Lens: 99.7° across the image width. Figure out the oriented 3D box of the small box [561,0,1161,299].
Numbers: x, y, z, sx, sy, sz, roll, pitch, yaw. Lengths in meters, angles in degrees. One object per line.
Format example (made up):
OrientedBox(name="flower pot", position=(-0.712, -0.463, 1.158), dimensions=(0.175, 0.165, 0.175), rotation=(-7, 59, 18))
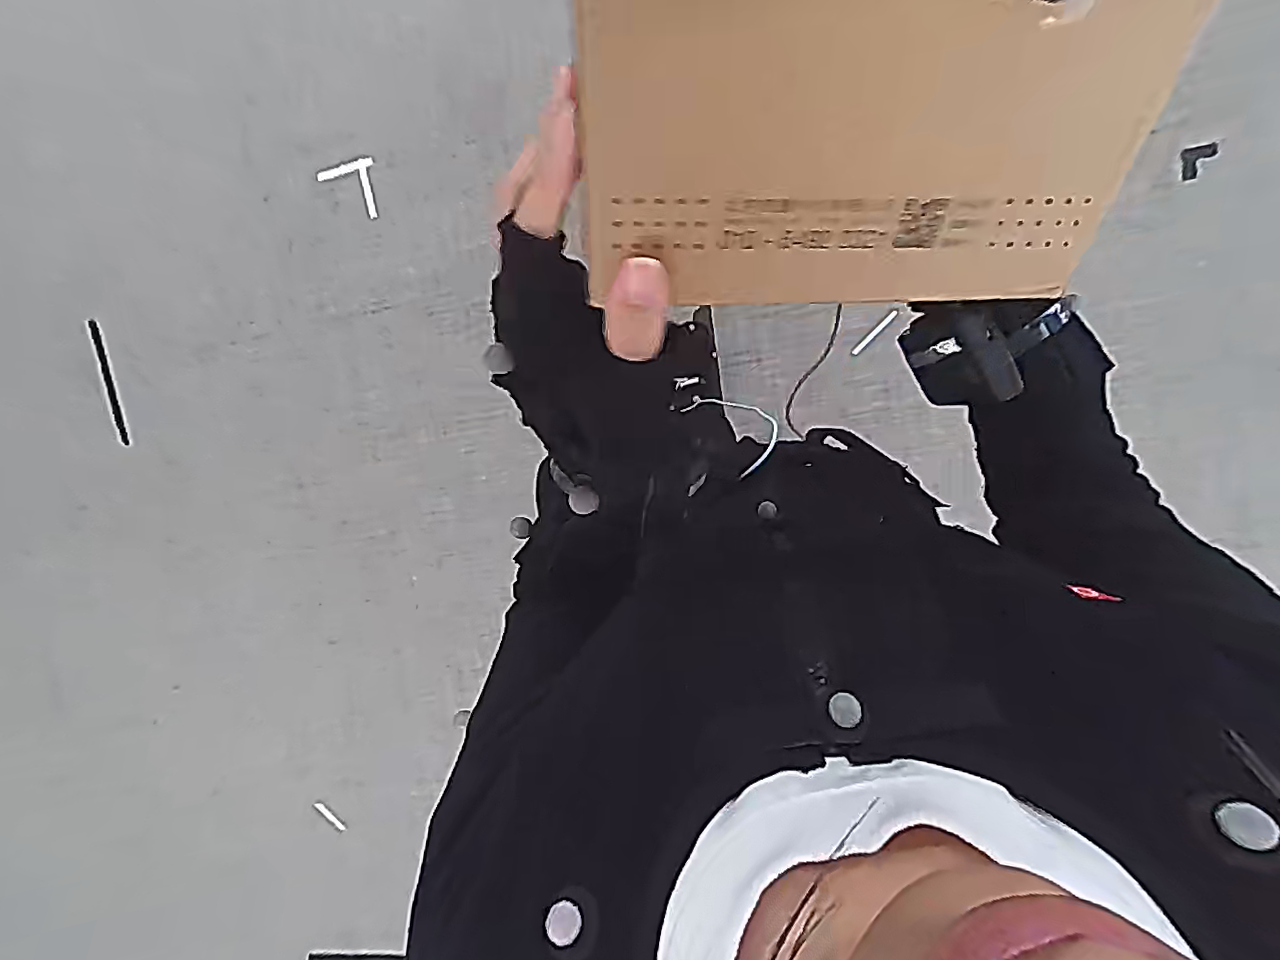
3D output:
OrientedBox(name="small box", position=(0.060, -0.178, 0.201), dimensions=(0.168, 0.179, 0.176), rotation=(0, 131, -1))
